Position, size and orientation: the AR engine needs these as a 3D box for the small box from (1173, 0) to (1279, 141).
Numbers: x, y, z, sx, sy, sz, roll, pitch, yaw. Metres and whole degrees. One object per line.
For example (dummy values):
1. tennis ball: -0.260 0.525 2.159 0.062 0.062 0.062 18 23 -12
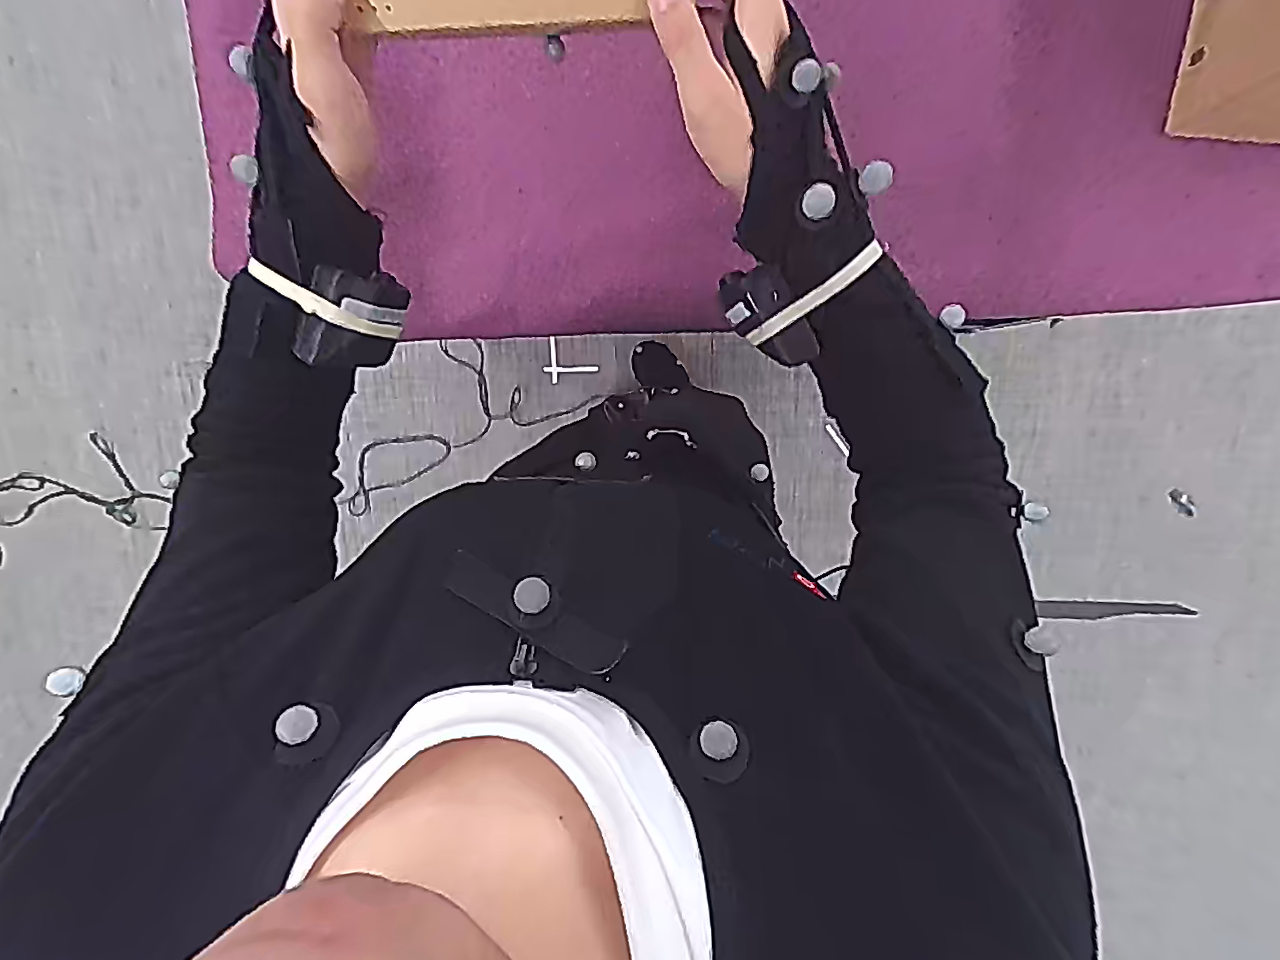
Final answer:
1. small box: 0.609 -0.402 0.442 0.179 0.176 0.168 5 100 2
